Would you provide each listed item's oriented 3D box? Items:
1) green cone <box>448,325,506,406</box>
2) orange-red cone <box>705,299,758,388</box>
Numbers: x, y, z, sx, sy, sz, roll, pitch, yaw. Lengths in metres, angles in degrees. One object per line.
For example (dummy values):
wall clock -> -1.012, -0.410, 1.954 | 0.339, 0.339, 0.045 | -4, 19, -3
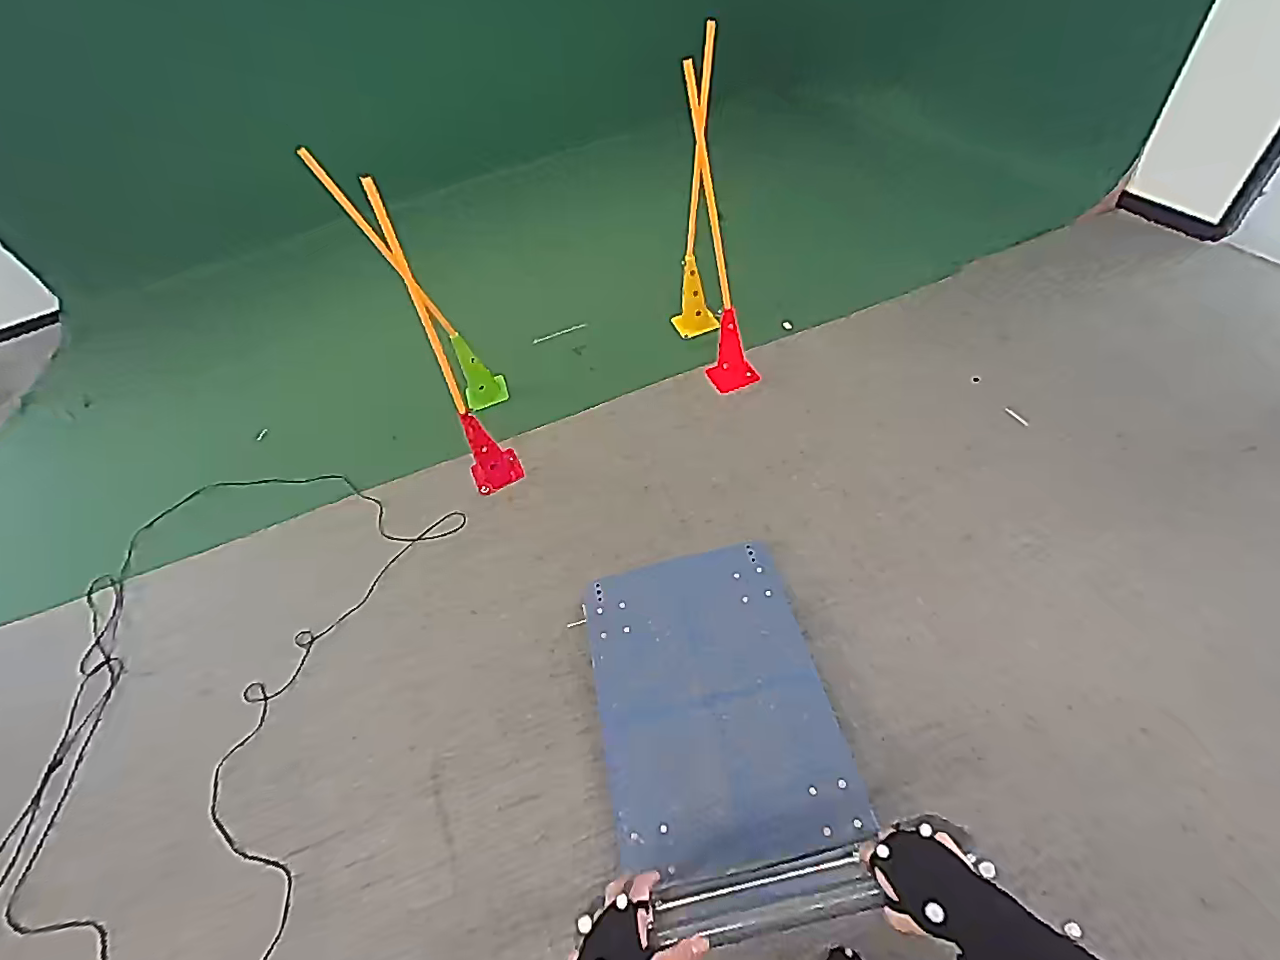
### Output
green cone -> -0.791, -0.556, 2.512 | 0.200, 0.368, 0.202 | -21, 49, -4
orange-red cone -> 0.377, -0.602, 2.290 | 0.198, 0.360, 0.199 | -20, 48, -5
